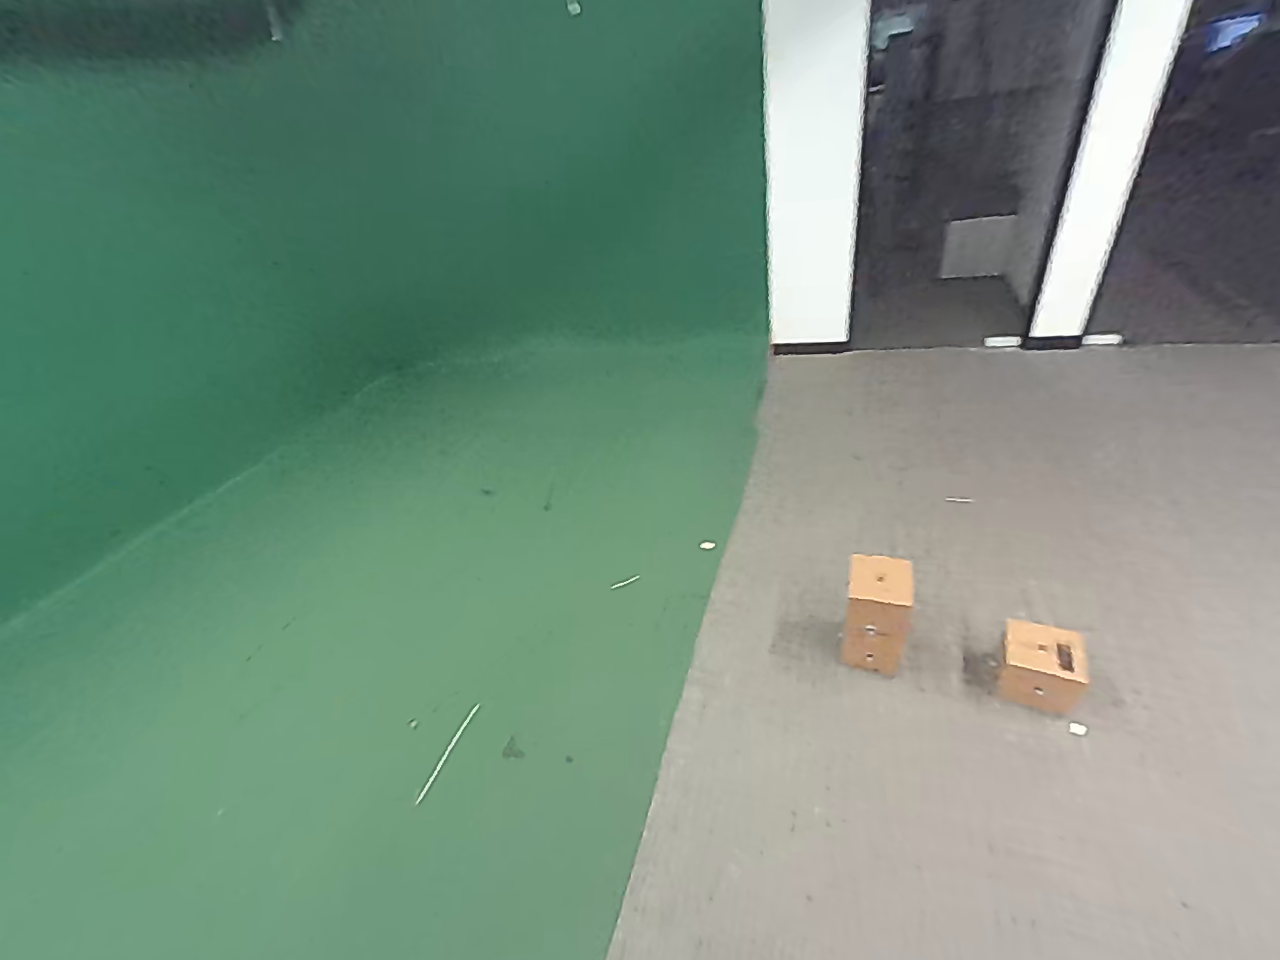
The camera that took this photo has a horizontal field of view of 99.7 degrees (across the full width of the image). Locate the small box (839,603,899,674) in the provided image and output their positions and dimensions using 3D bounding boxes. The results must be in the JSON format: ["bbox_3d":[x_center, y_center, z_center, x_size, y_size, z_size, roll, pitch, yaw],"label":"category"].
[{"bbox_3d":[0.716,0.471,1.682,0.168,0.176,0.179,7,41,24],"label":"small box"}]

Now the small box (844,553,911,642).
[{"bbox_3d":[0.693,0.343,1.584,0.168,0.176,0.179,4,39,22],"label":"small box"}]
